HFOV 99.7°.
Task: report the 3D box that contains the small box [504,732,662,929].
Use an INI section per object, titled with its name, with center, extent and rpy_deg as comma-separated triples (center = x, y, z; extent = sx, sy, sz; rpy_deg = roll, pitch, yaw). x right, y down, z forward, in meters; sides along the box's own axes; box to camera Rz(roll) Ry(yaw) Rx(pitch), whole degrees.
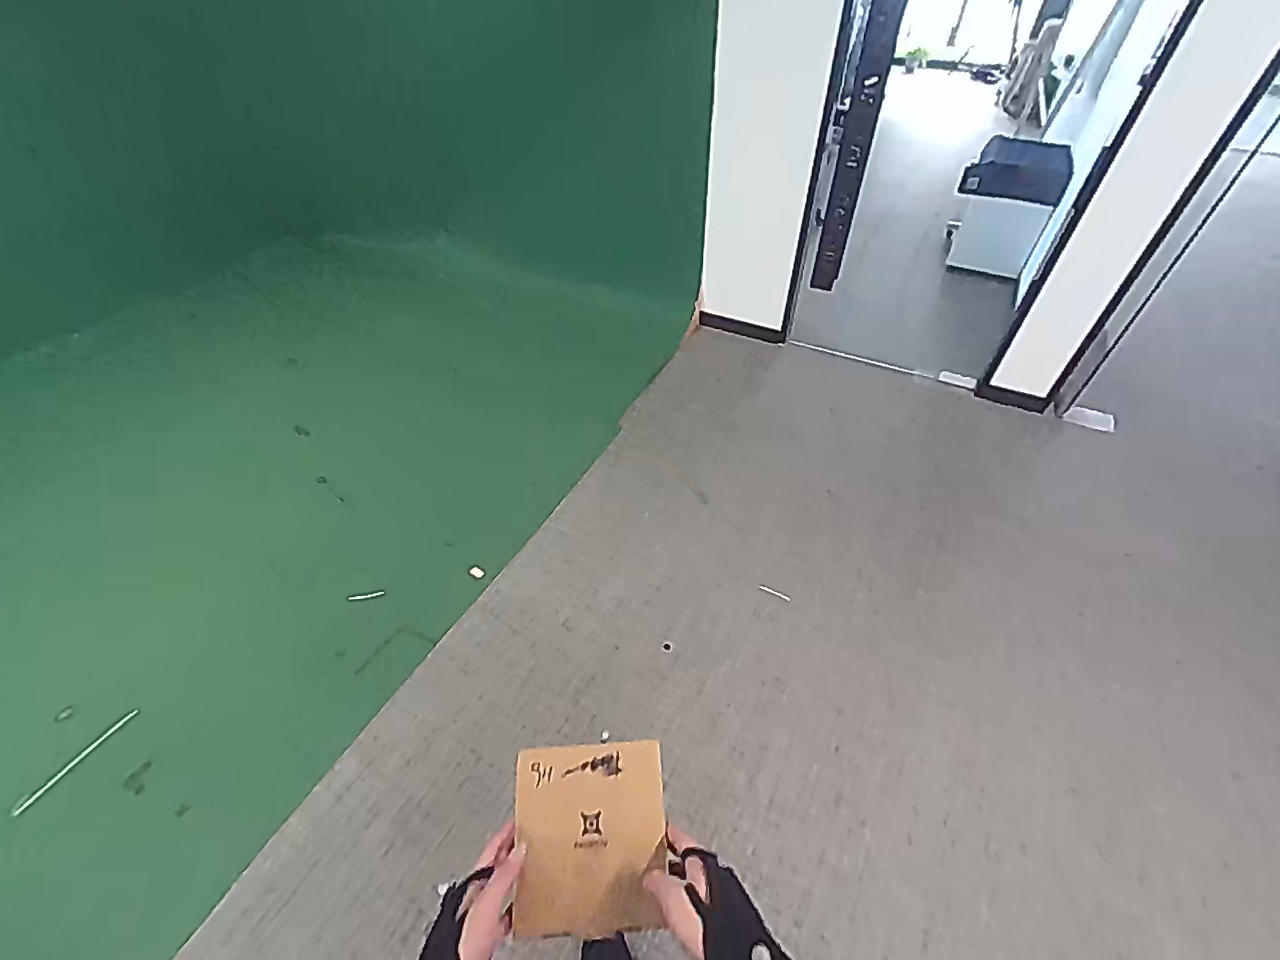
[small box]
center = -0.059, 0.404, 0.653
extent = 0.168, 0.176, 0.179
rpy_deg = -3, 64, -1
